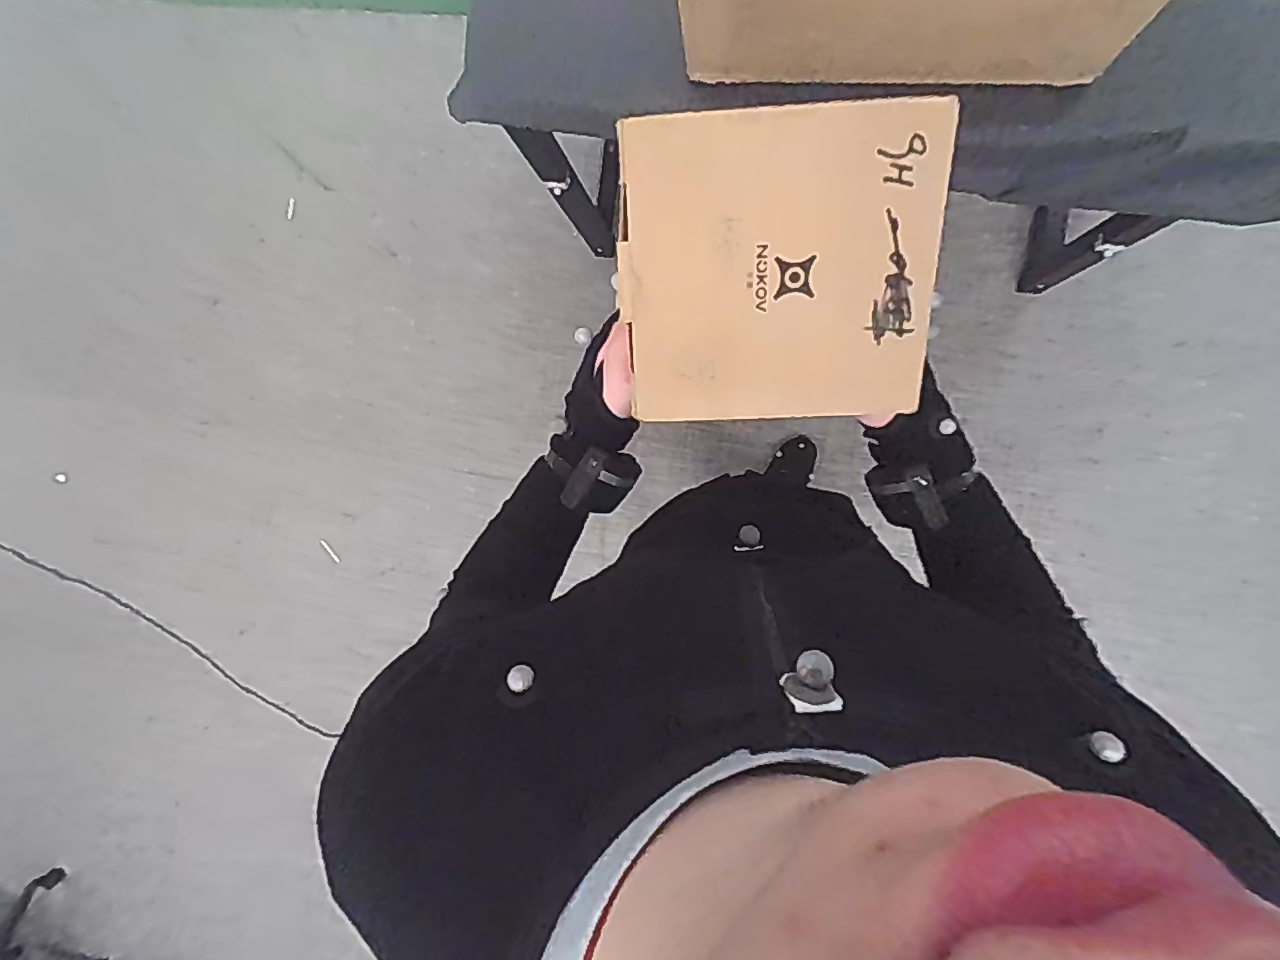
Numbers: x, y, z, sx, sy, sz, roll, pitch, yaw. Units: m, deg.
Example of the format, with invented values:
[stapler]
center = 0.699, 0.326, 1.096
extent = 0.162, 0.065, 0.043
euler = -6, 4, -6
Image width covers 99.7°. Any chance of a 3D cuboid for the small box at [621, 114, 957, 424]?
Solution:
[small box]
center = 0.084, -0.140, 0.385
extent = 0.179, 0.176, 0.168
euler = -1, 111, 4
